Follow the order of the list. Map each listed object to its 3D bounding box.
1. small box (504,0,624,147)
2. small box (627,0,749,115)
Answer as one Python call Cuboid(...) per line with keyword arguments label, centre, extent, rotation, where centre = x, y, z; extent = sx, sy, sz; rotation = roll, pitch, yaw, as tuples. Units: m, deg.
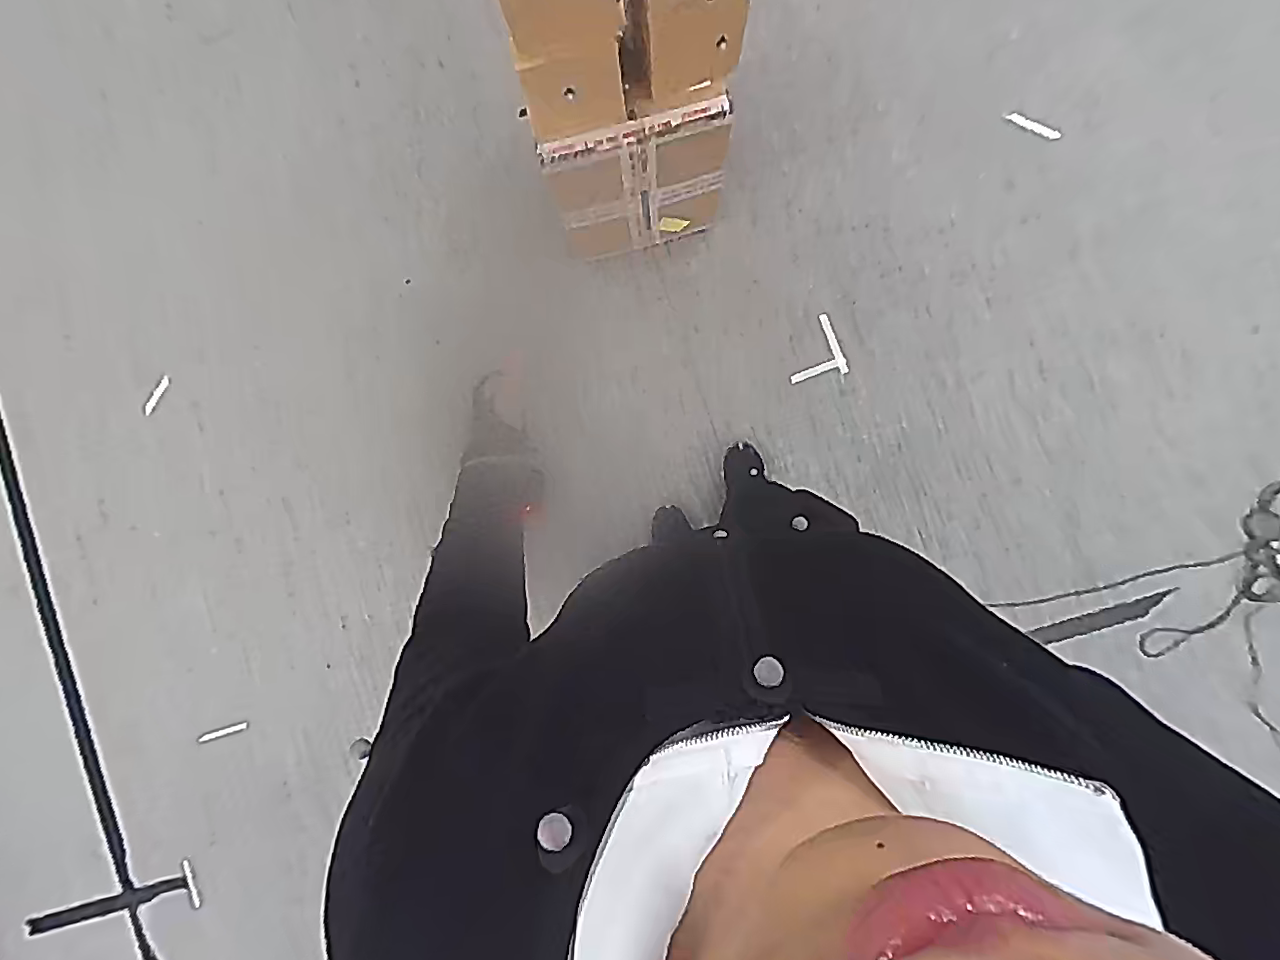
Cuboid(label="small box", centre=(-0.128, -0.751, 0.991), extent=(0.179, 0.176, 0.168), rotation=(-11, 90, 4))
Cuboid(label="small box", centre=(0.078, -0.815, 0.980), extent=(0.179, 0.176, 0.168), rotation=(-19, 89, 3))
